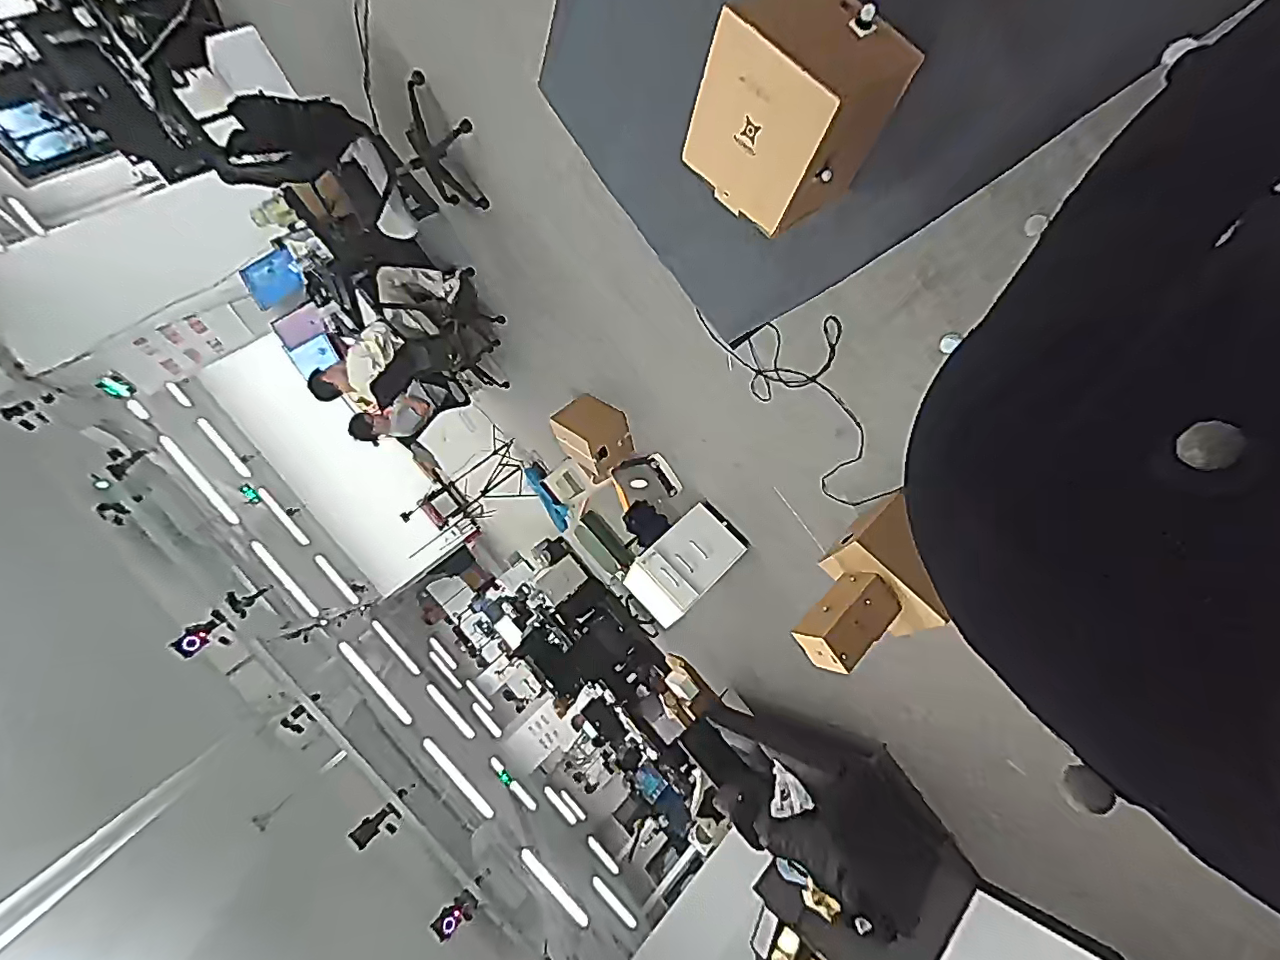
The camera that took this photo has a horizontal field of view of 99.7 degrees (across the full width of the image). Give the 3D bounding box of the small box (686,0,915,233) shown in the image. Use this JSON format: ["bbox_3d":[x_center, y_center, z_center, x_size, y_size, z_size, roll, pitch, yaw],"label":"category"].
[{"bbox_3d":[0.187,-0.448,0.652,0.168,0.176,0.179,45,156,10],"label":"small box"}]

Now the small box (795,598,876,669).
[{"bbox_3d":[0.700,0.540,1.932,0.168,0.176,0.179,52,159,-8],"label":"small box"}]
